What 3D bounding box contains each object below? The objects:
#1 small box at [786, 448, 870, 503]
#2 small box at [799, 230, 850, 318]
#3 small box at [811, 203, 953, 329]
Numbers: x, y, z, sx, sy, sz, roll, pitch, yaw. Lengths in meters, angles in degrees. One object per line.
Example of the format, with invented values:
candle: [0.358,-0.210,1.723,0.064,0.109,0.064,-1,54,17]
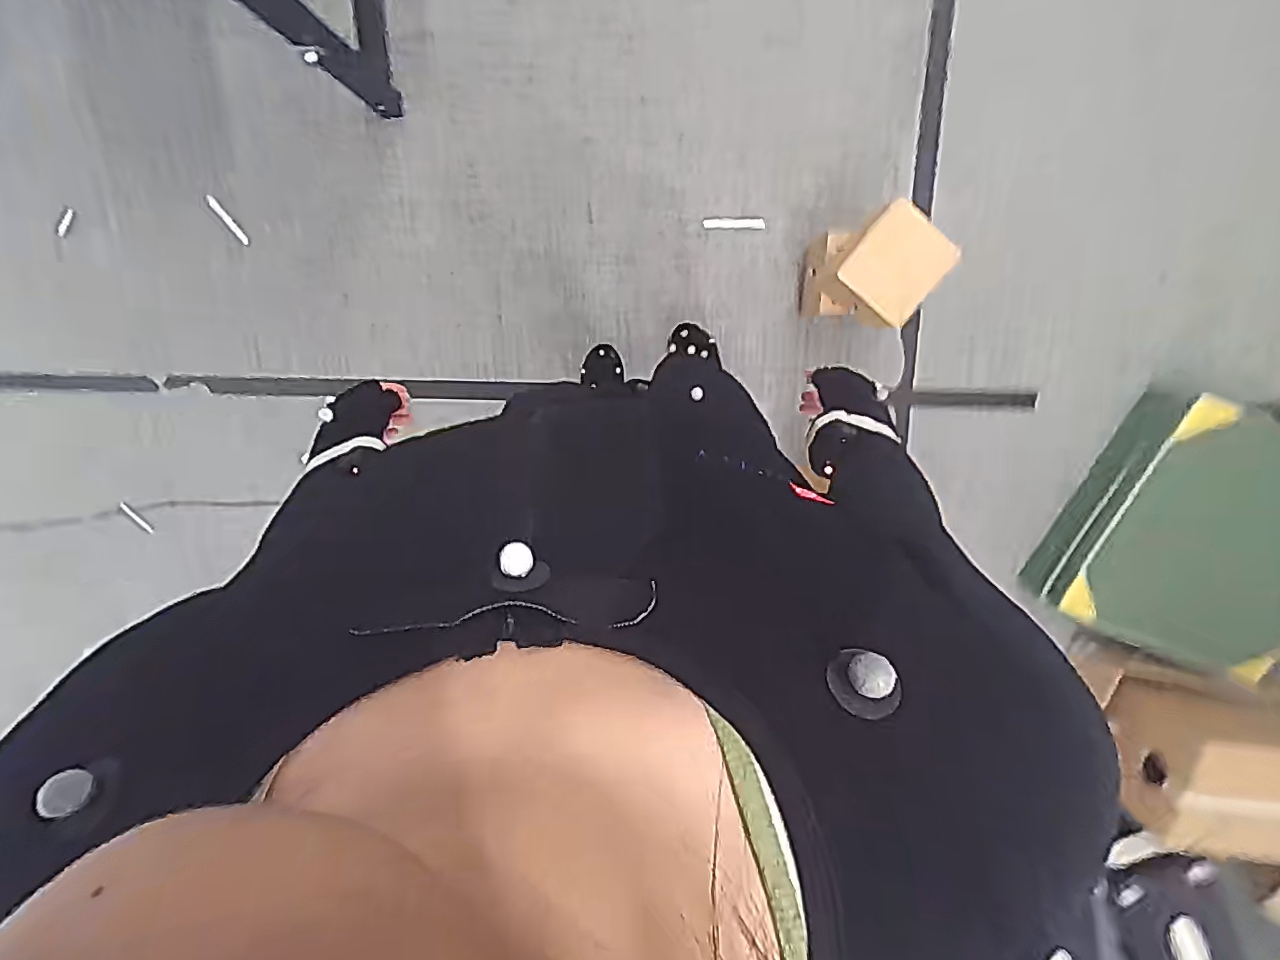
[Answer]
small box: [0.503,0.029,1.418,0.168,0.176,0.179,-28,102,11]
small box: [0.484,-0.478,1.278,0.168,0.176,0.179,3,104,0]
small box: [0.492,-0.434,1.116,0.168,0.176,0.179,37,102,-8]
